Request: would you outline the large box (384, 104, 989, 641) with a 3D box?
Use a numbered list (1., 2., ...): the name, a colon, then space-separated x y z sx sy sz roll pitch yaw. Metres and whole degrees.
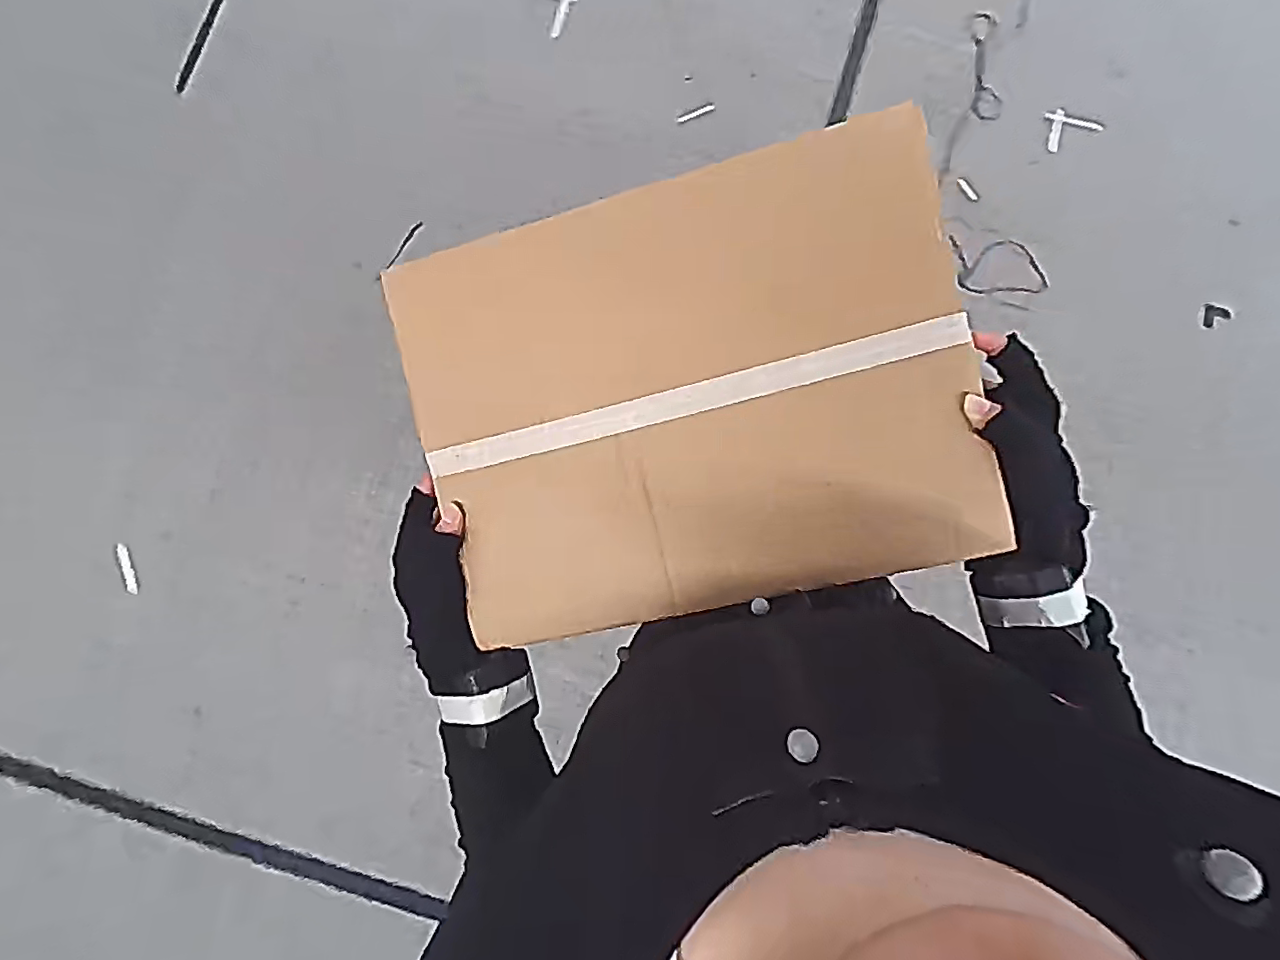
1. large box: 0.044 -0.076 0.553 0.408 0.320 0.320 -14 92 9
